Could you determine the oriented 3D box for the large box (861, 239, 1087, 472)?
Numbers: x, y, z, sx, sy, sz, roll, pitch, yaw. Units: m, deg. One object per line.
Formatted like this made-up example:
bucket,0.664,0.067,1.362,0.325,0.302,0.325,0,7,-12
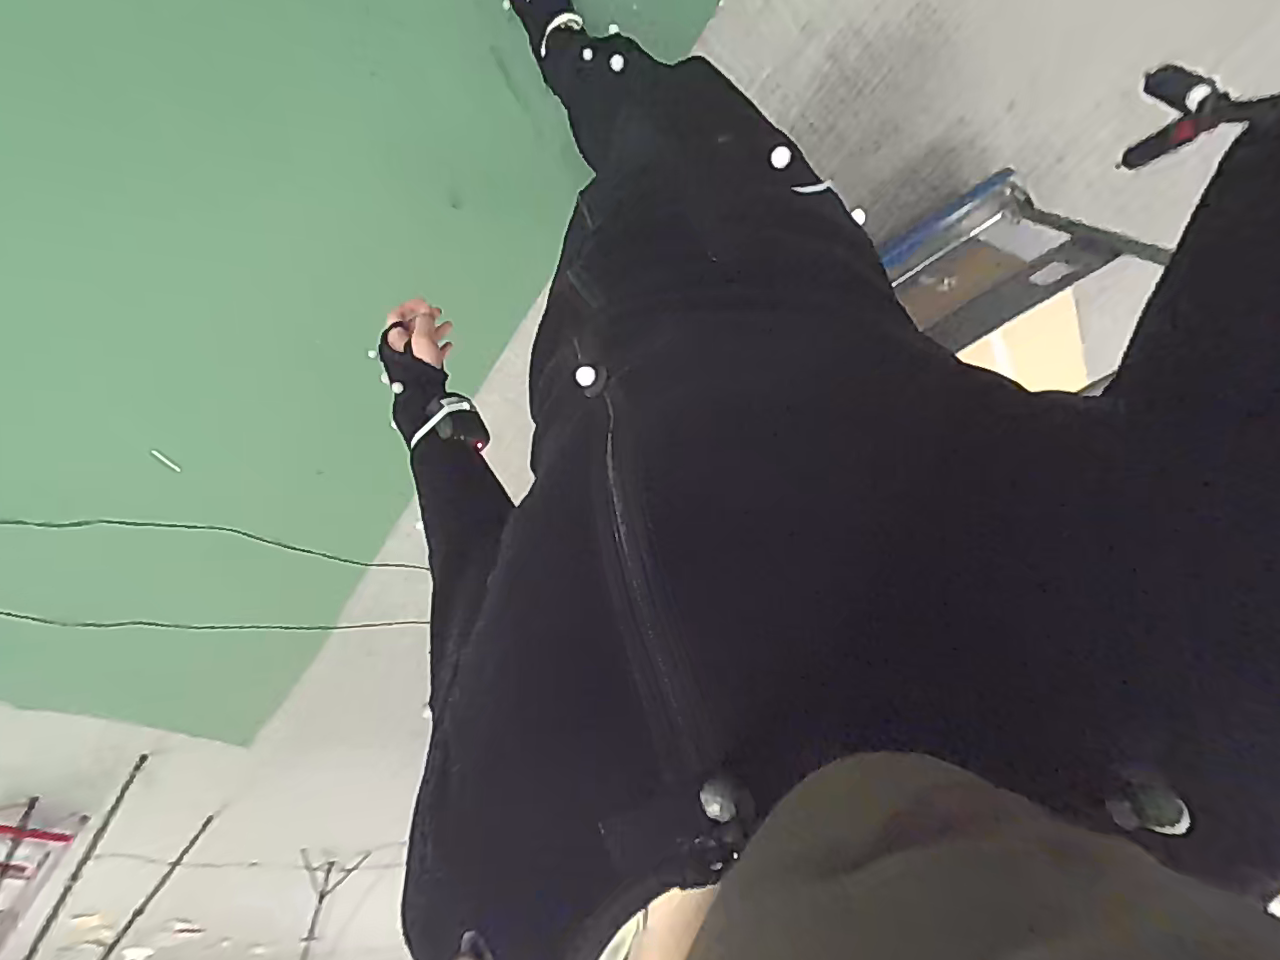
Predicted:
large box,0.821,-0.306,1.349,0.320,0.320,0.408,-32,126,18
